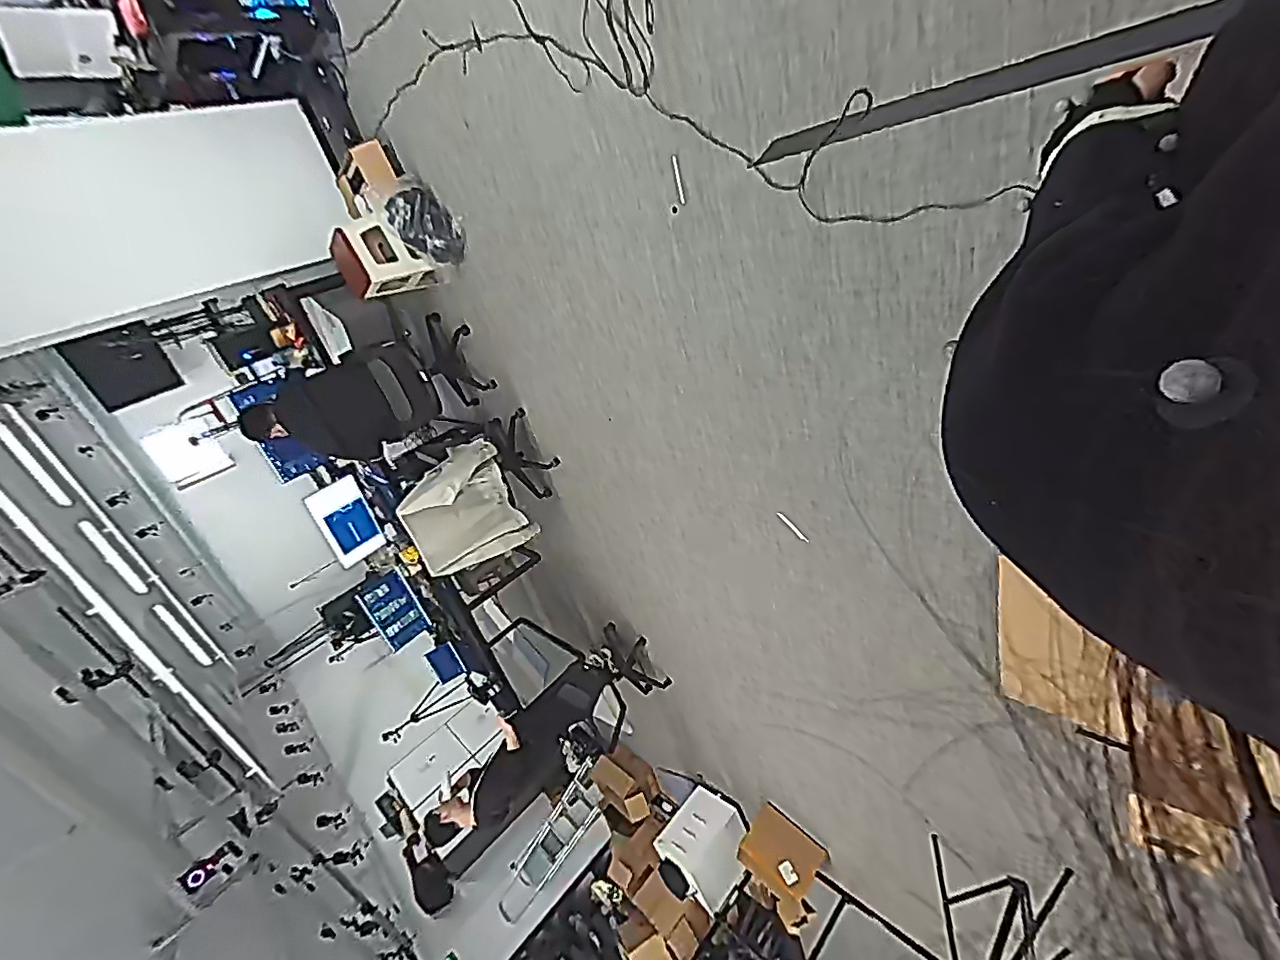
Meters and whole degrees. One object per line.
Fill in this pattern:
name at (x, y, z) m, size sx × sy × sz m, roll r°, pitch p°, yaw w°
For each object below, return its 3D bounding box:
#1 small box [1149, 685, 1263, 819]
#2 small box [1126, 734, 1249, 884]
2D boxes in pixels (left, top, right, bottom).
small box at (1.288, 0.612, 1.236) m, size 0.168 × 0.176 × 0.179 m, roll 7°, pitch 126°, yaw 49°
small box at (1.168, 0.691, 1.155) m, size 0.168 × 0.176 × 0.179 m, roll 8°, pitch 125°, yaw 49°
